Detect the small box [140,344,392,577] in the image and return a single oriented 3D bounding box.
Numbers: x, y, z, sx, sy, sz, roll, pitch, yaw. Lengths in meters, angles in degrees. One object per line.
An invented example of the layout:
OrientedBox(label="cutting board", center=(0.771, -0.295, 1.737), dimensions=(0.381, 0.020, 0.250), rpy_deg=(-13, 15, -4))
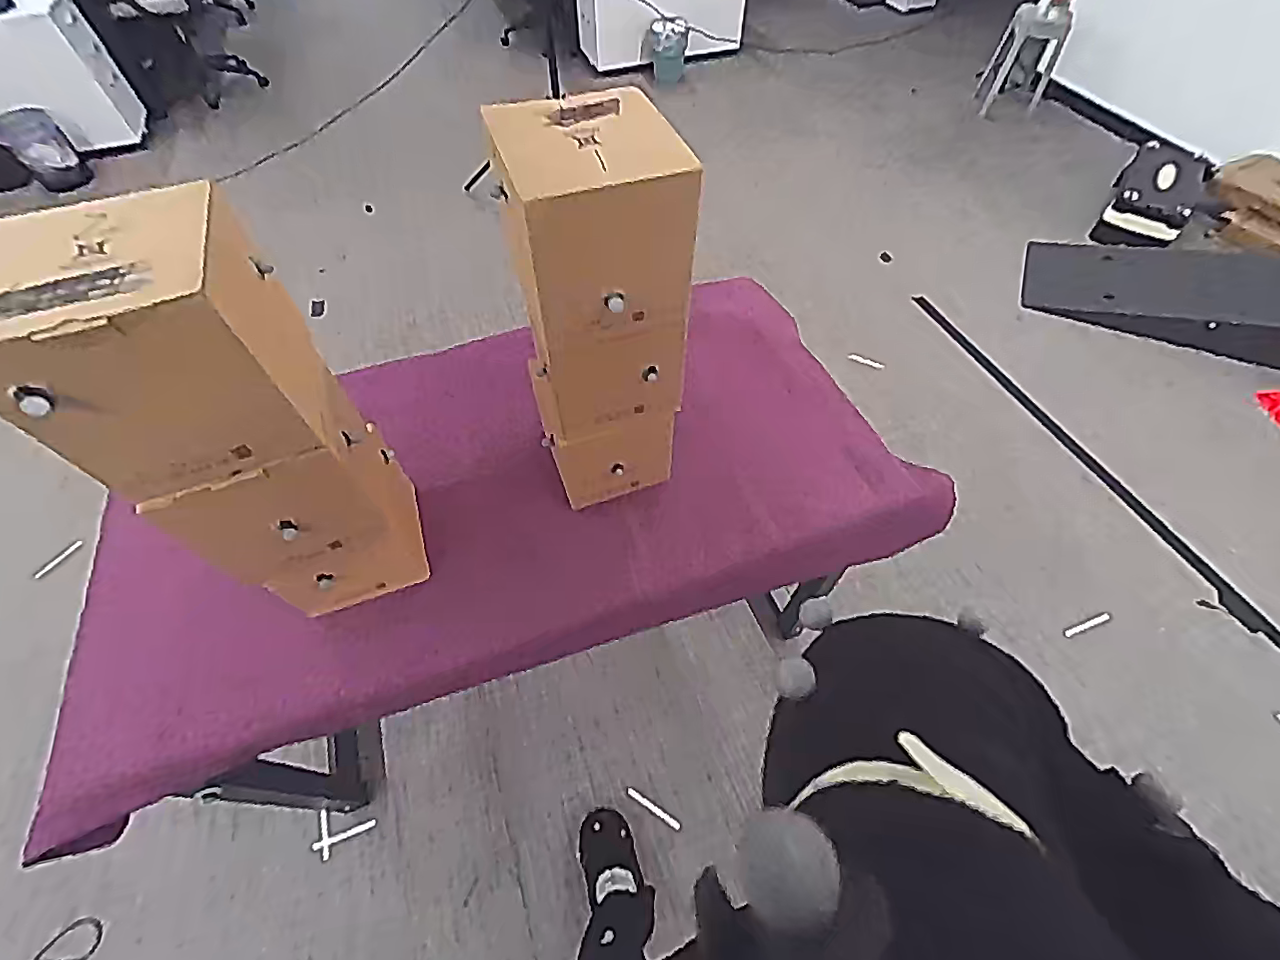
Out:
OrientedBox(label="small box", center=(-0.399, -0.012, 0.600), dimensions=(0.168, 0.176, 0.179), rpy_deg=(-22, 59, -14))

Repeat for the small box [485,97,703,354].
OrientedBox(label="small box", center=(-0.051, -0.263, 0.567), dimensions=(0.168, 0.176, 0.179), rpy_deg=(-17, 59, -11))

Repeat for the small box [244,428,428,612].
OrientedBox(label="small box", center=(-0.410, 0.064, 0.746), dimensions=(0.168, 0.176, 0.179), rpy_deg=(-18, 57, -11))

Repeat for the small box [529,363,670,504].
OrientedBox(label="small box", center=(-0.060, -0.082, 0.839), dimensions=(0.168, 0.176, 0.179), rpy_deg=(-17, 58, -11))

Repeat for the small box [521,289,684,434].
OrientedBox(label="small box", center=(-0.051, -0.179, 0.709), dimensions=(0.168, 0.176, 0.179), rpy_deg=(-16, 57, -11))
